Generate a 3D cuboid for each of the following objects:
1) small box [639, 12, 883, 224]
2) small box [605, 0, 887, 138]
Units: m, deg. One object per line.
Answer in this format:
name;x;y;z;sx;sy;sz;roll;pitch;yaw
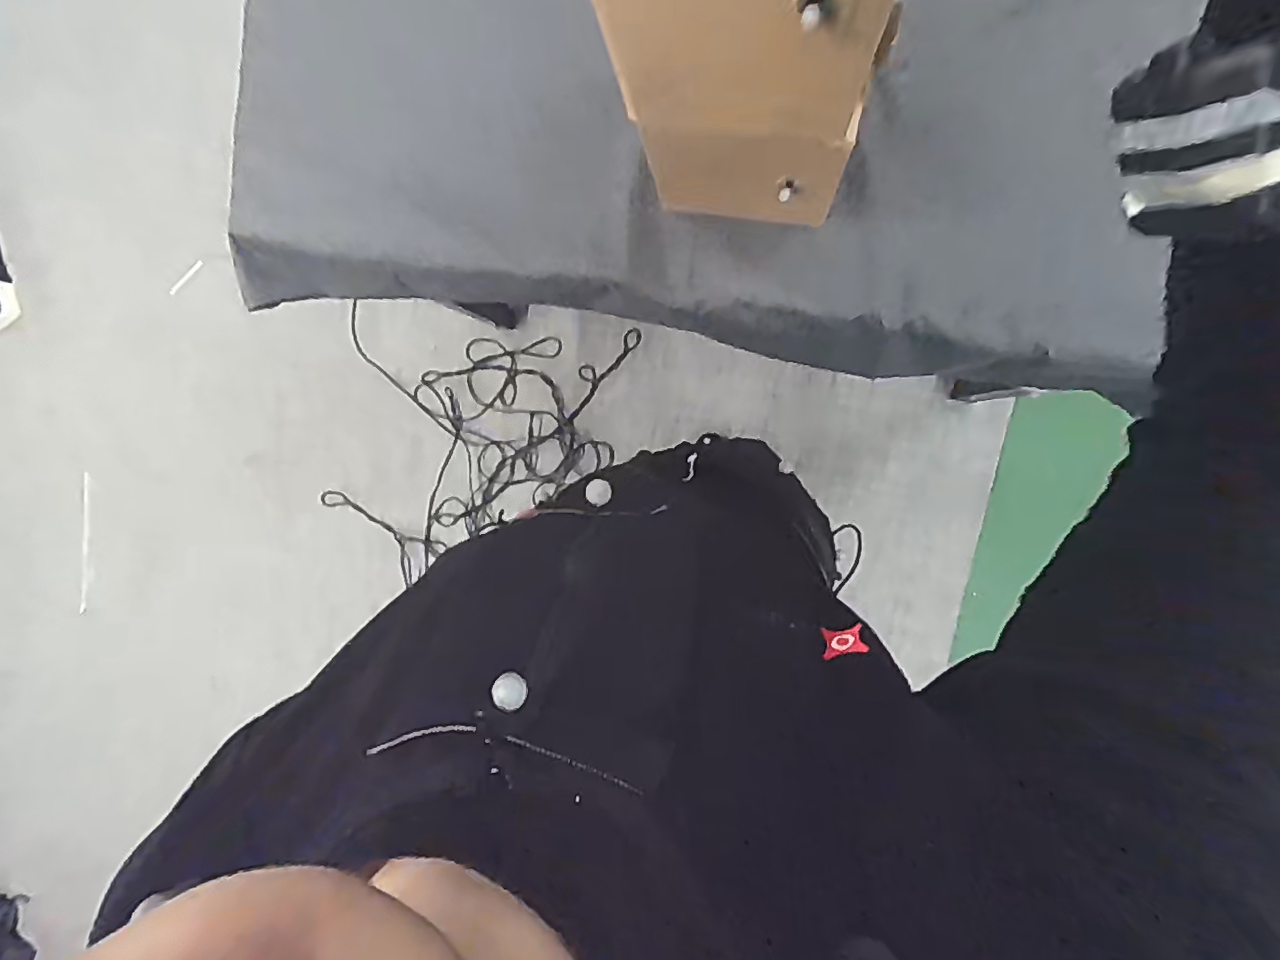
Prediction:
small box;0.111;-0.358;0.503;0.179;0.176;0.168;11;95;10
small box;0.075;-0.352;0.345;0.179;0.176;0.168;12;95;8
